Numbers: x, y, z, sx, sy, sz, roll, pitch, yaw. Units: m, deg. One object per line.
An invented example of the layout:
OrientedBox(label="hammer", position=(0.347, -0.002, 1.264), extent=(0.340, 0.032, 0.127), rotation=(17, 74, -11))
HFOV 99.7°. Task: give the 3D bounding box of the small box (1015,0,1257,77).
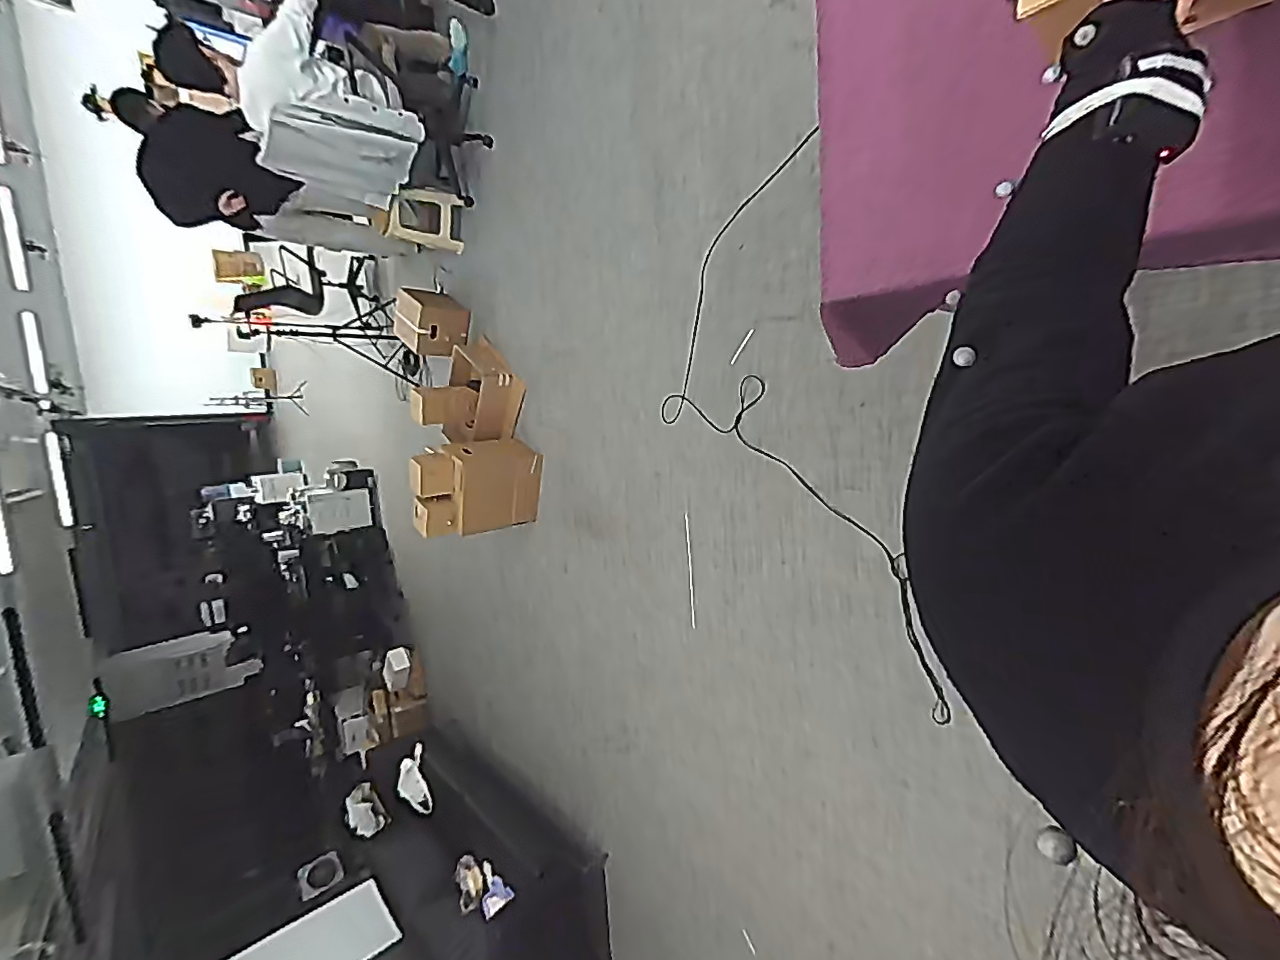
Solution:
OrientedBox(label="small box", position=(0.475, -0.534, 0.507), extent=(0.168, 0.176, 0.179), rotation=(6, 102, 48))
